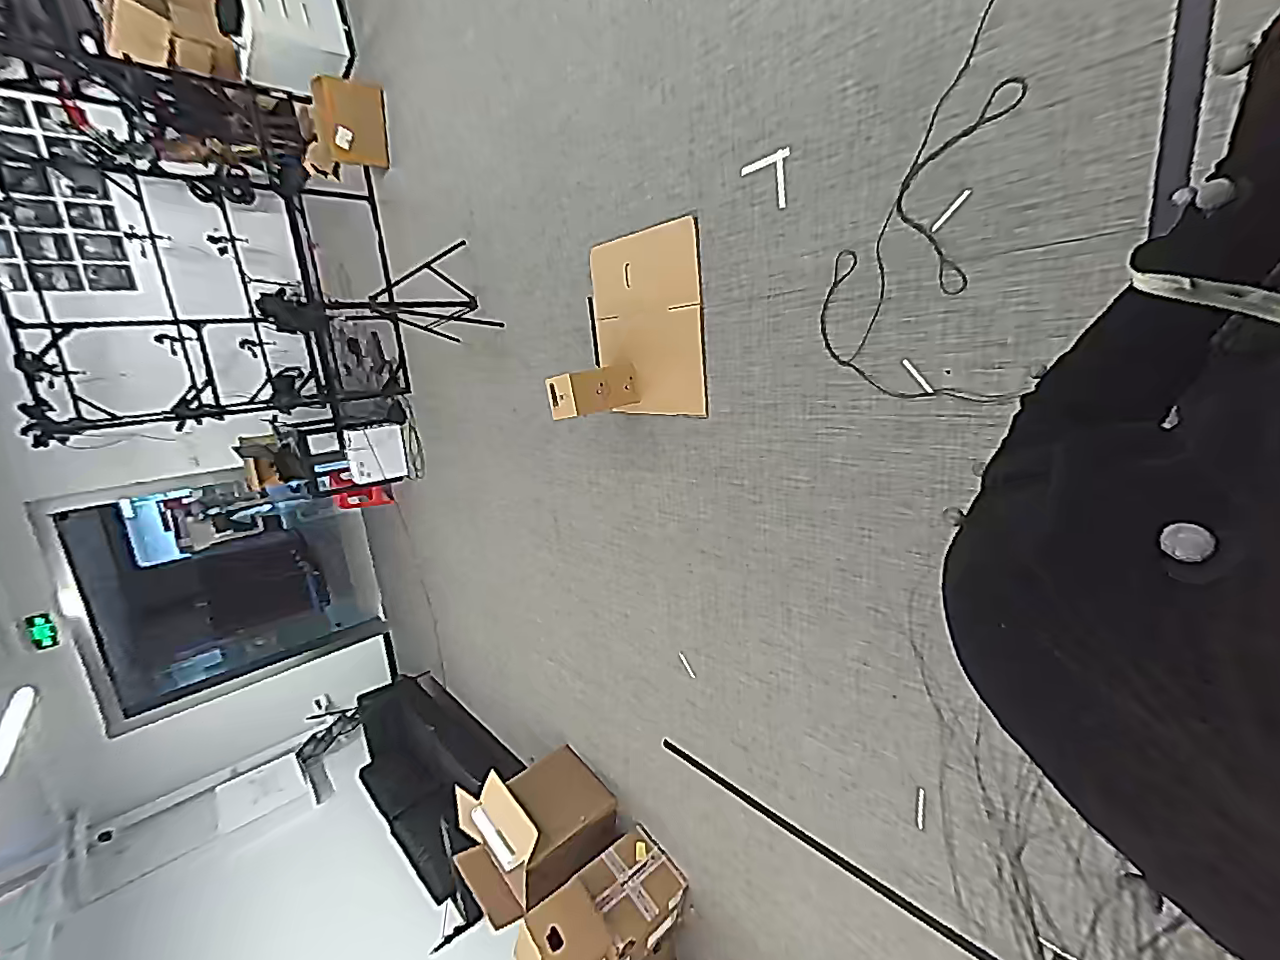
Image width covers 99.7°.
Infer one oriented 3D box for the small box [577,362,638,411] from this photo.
[{"bbox_3d":[-0.133,-0.391,2.257,0.179,0.176,0.168,-4,101,50],"label":"small box"}]
